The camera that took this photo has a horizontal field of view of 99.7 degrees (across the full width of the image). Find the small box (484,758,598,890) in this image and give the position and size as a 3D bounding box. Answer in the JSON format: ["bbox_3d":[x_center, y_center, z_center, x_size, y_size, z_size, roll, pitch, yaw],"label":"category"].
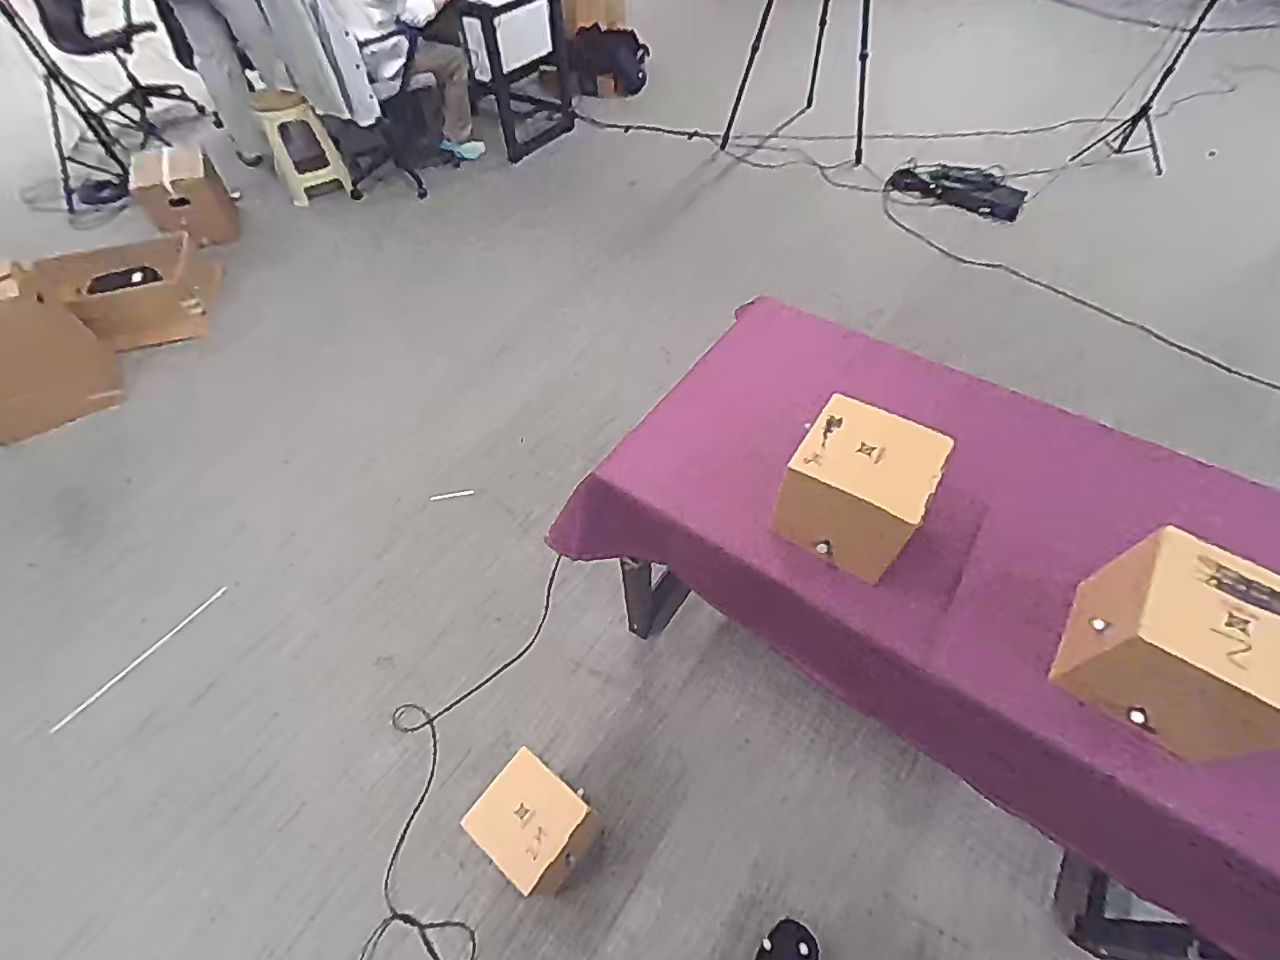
[{"bbox_3d":[-0.204,0.748,1.177,0.168,0.176,0.179,31,60,22],"label":"small box"}]

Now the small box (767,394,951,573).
[{"bbox_3d":[0.311,0.013,0.795,0.179,0.176,0.168,29,59,20],"label":"small box"}]
